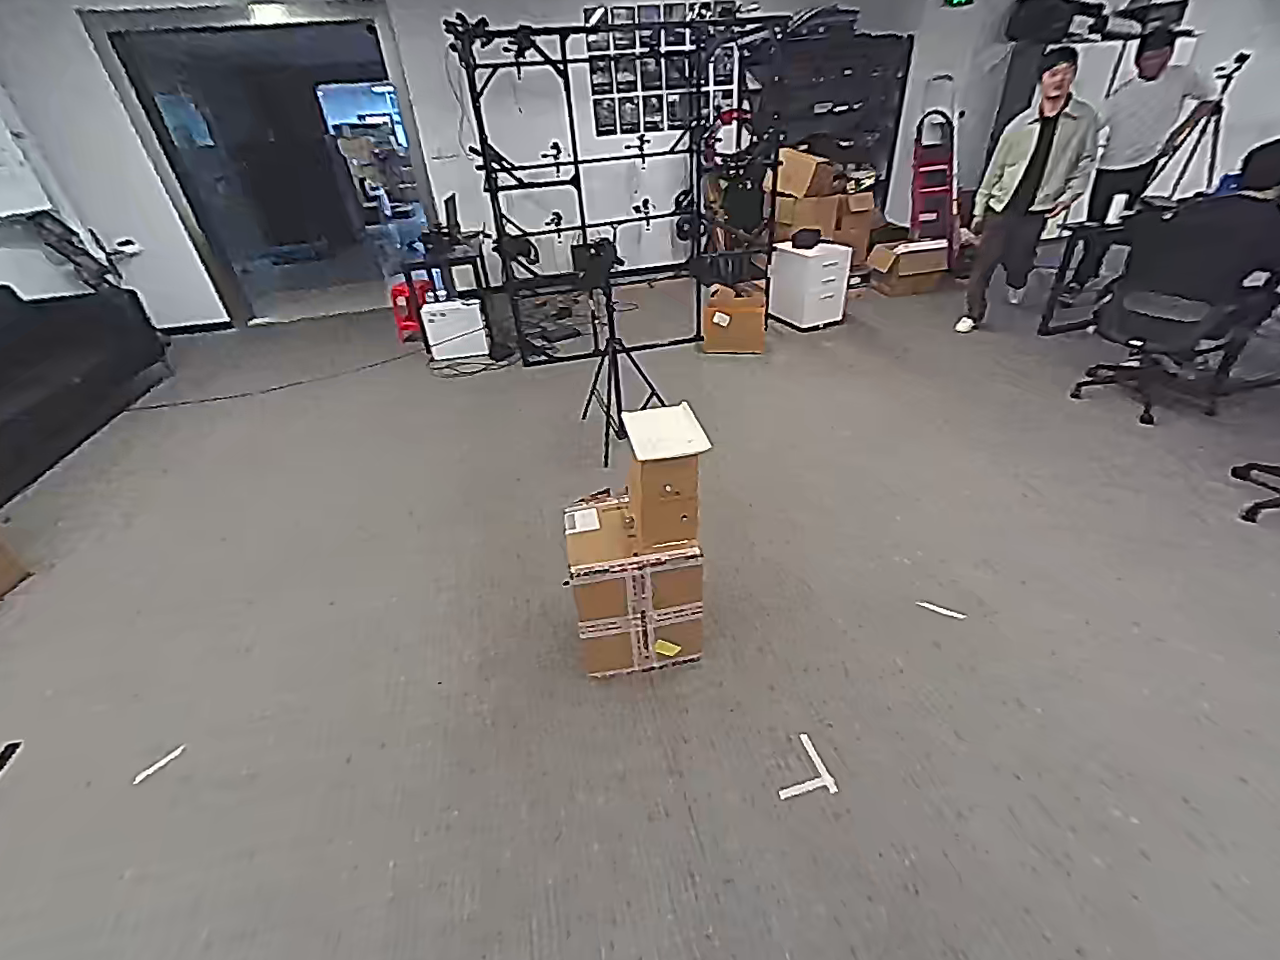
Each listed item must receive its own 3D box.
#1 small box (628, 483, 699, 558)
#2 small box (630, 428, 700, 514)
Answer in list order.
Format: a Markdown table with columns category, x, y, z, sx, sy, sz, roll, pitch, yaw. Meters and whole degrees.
| category | x | y | z | sx | sy | sz | roll | pitch | yaw |
| --- | --- | --- | --- | --- | --- | --- | --- | --- | --- |
| small box | 0.066 | 0.108 | 1.616 | 0.179 | 0.176 | 0.168 | -10 | 35 | -11 |
| small box | 0.064 | -0.028 | 1.523 | 0.168 | 0.176 | 0.179 | -8 | 36 | -8 |
